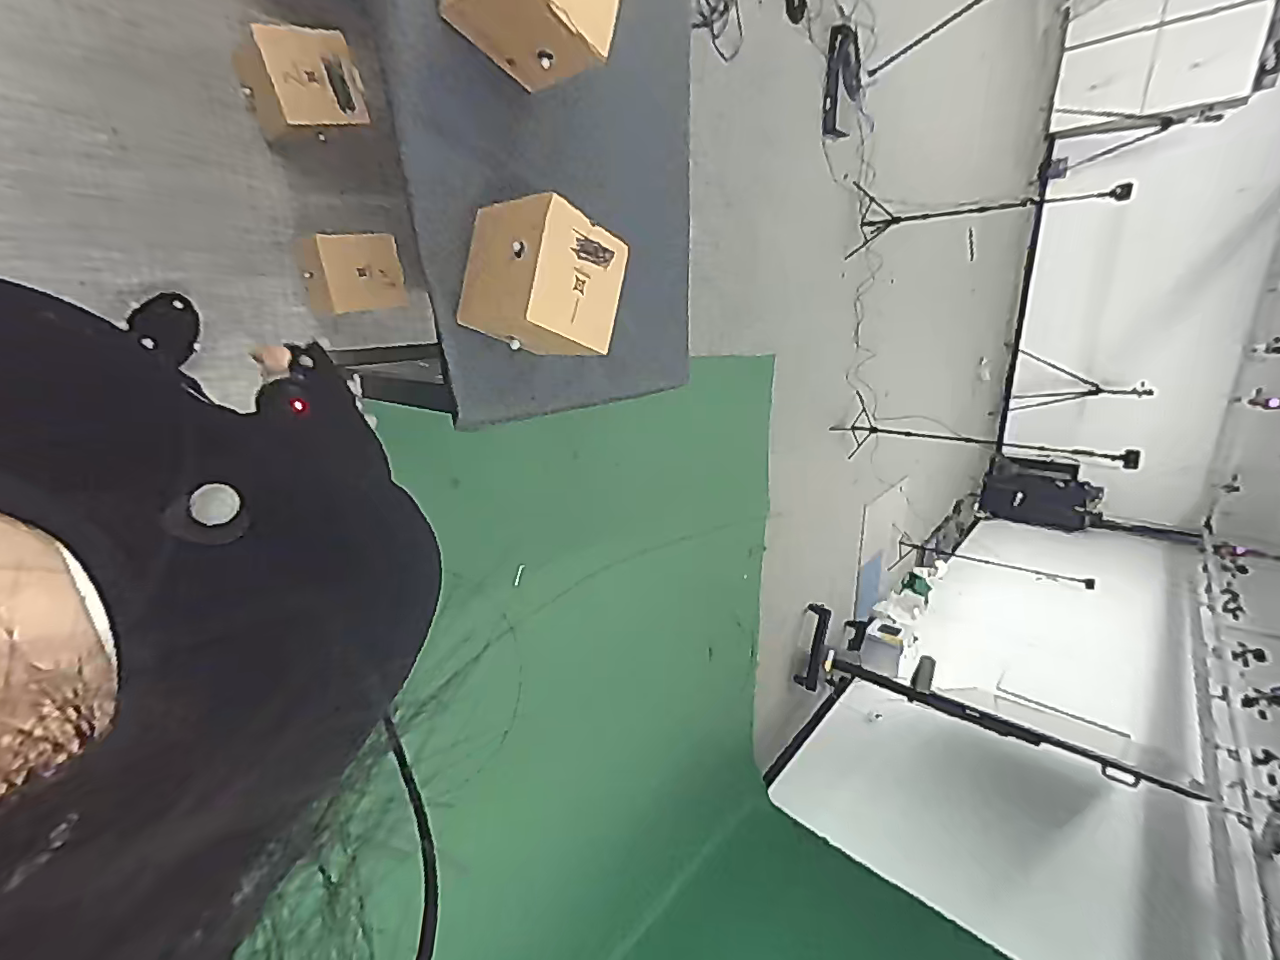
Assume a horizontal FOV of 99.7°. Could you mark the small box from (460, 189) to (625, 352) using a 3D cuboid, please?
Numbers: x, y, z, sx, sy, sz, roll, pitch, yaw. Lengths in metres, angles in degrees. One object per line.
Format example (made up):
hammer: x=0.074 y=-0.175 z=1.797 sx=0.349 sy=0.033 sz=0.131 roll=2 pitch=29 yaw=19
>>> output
small box: x=-0.150 y=-0.303 z=0.822 sx=0.168 sy=0.176 sz=0.179 roll=11 pitch=91 yaw=-52

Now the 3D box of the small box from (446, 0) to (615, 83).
small box: x=-0.146 y=-0.689 z=0.731 sx=0.168 sy=0.176 sz=0.179 roll=9 pitch=92 yaw=-53

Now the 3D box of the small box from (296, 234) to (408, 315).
small box: x=-0.689 y=-0.487 z=1.285 sx=0.179 sy=0.176 sz=0.168 roll=-26 pitch=119 yaw=-42
